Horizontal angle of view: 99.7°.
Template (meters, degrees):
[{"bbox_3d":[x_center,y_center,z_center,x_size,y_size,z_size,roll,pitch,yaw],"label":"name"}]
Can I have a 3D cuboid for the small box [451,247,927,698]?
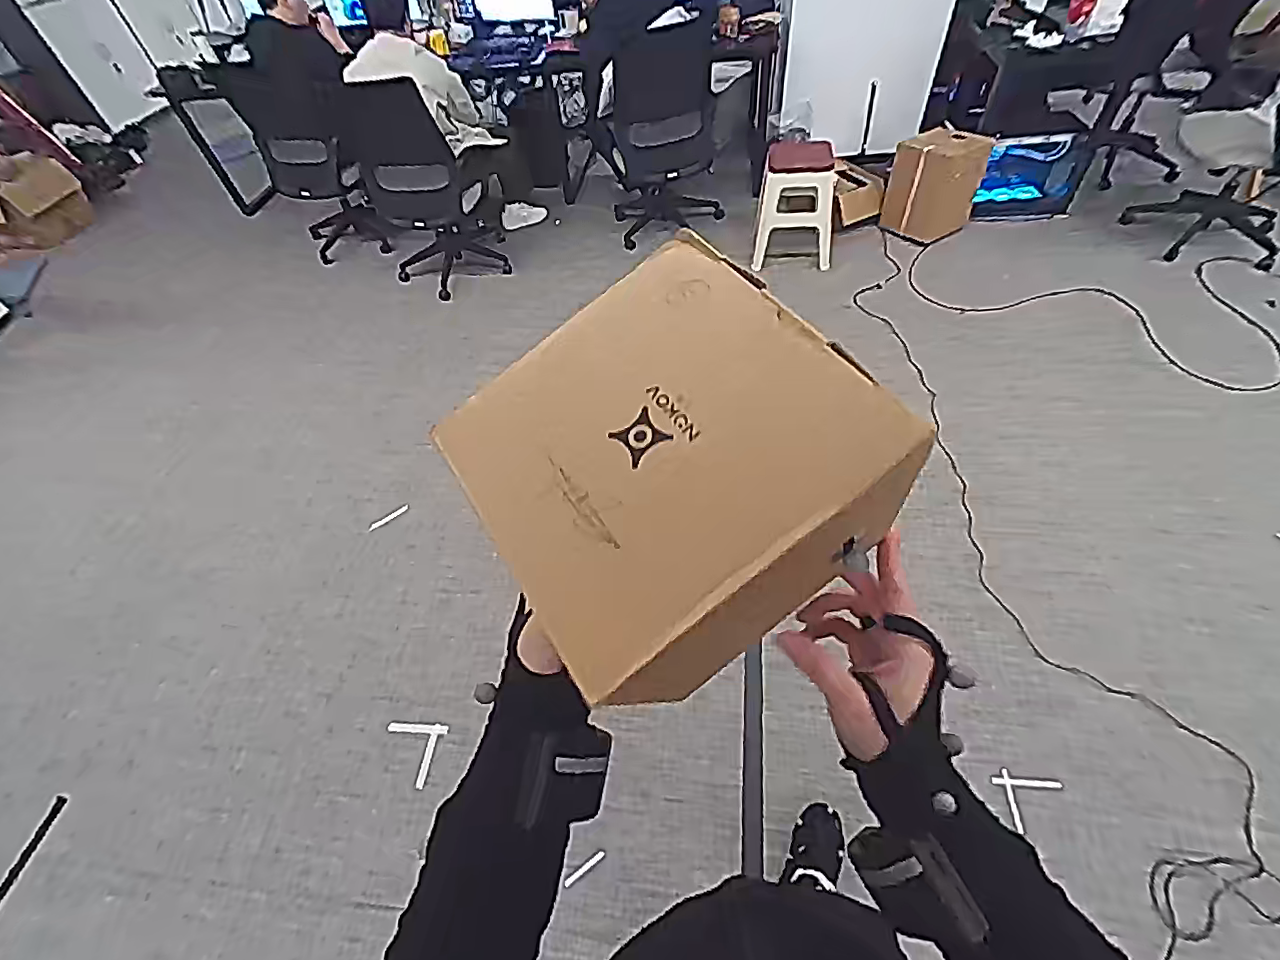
[{"bbox_3d":[0.030,0.009,0.330,0.179,0.176,0.168,-39,63,-1],"label":"small box"}]
